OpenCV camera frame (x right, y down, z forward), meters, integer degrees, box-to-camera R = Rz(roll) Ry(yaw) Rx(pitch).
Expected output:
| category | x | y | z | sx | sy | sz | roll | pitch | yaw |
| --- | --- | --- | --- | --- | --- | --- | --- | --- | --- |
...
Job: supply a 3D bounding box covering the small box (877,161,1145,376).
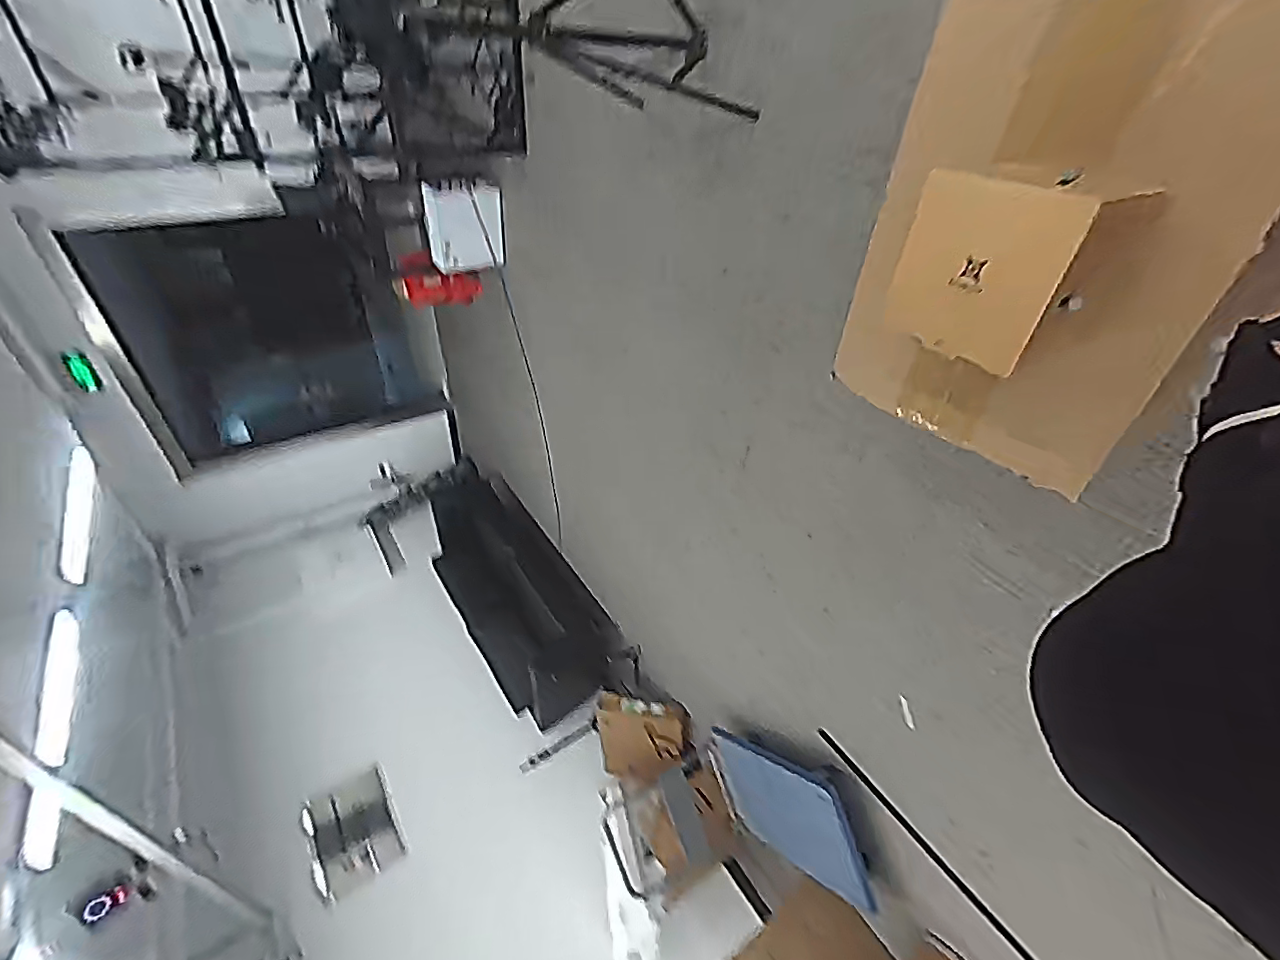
| category | x | y | z | sx | sy | sz | roll | pitch | yaw |
| --- | --- | --- | --- | --- | --- | --- | --- | --- | --- |
| small box | 0.409 | -0.245 | 0.606 | 0.168 | 0.176 | 0.179 | 42 | 143 | 39 |
